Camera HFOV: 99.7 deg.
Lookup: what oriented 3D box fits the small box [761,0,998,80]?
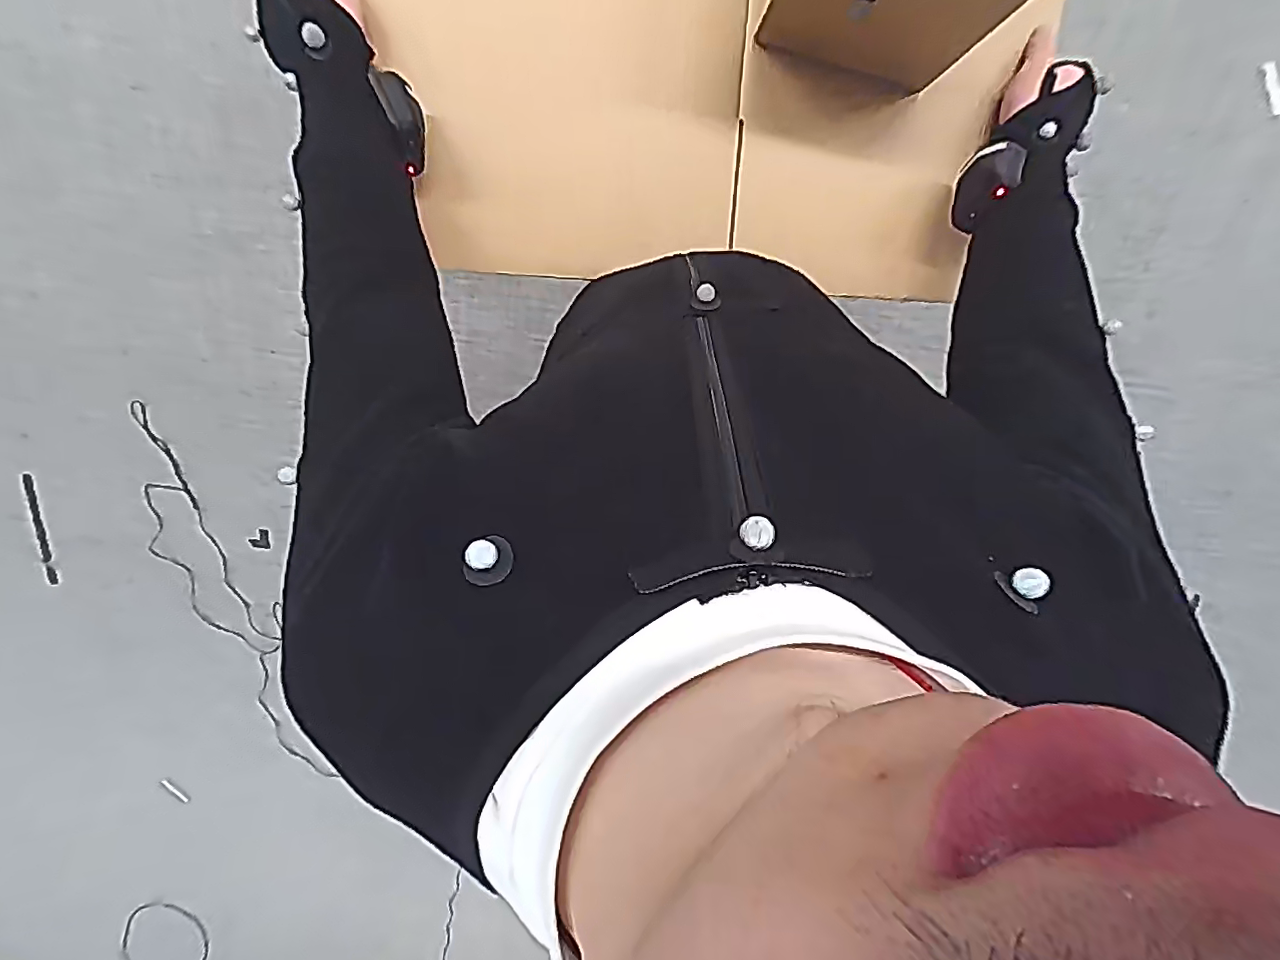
[{"bbox_3d":[0.212,-0.461,0.430,0.179,0.176,0.168,13,104,-4],"label":"small box"}]
